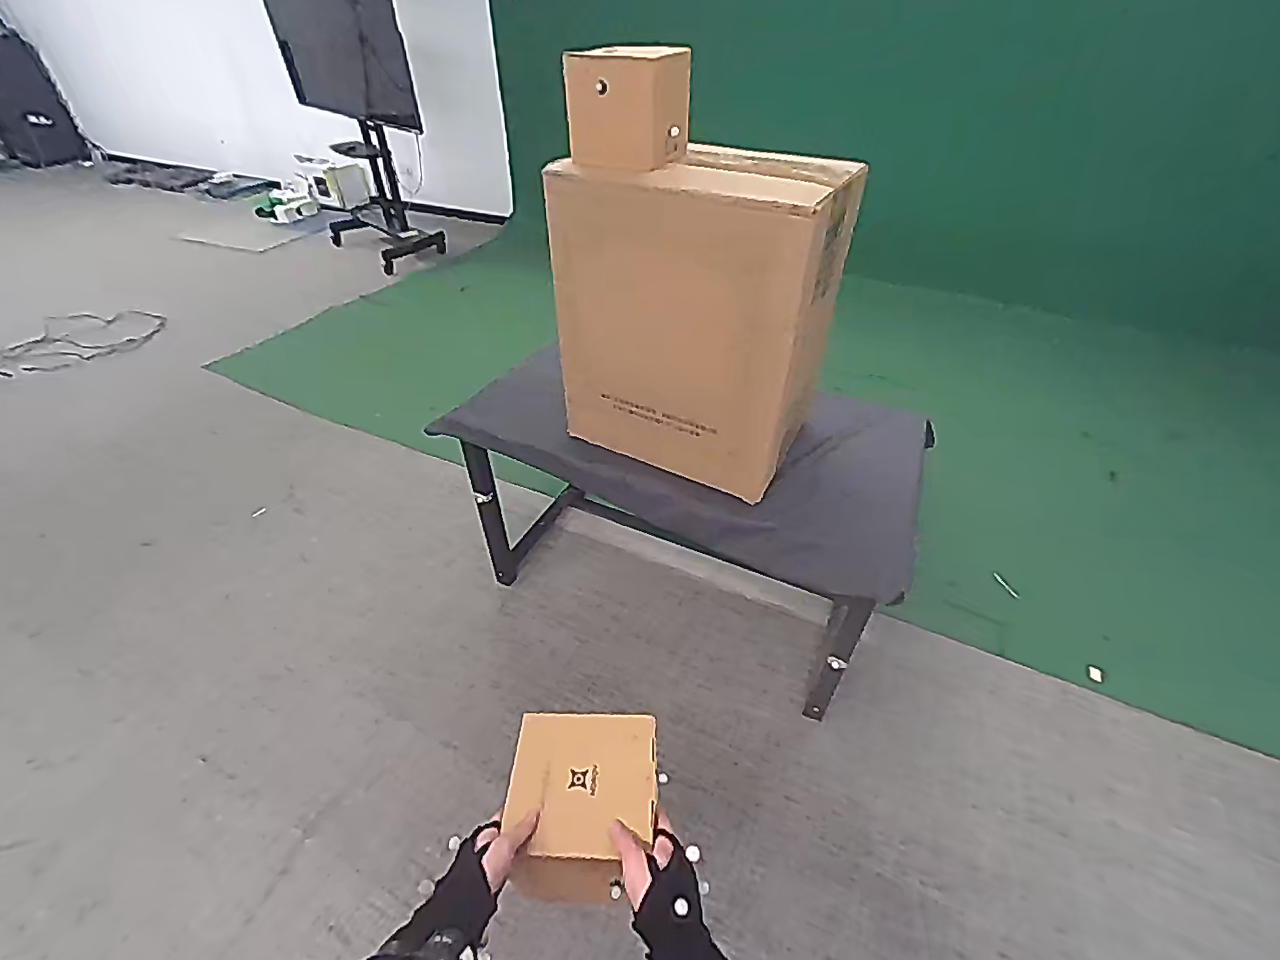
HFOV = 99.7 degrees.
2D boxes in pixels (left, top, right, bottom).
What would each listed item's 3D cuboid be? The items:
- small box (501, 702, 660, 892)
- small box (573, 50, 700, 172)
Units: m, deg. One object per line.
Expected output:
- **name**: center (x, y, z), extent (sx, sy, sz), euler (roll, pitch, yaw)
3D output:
- **small box**: center (-0.062, 0.414, 0.708), extent (0.179, 0.176, 0.168), euler (-1, 37, 4)
- **small box**: center (-0.002, -0.697, 1.022), extent (0.179, 0.176, 0.168), euler (21, 49, 24)
